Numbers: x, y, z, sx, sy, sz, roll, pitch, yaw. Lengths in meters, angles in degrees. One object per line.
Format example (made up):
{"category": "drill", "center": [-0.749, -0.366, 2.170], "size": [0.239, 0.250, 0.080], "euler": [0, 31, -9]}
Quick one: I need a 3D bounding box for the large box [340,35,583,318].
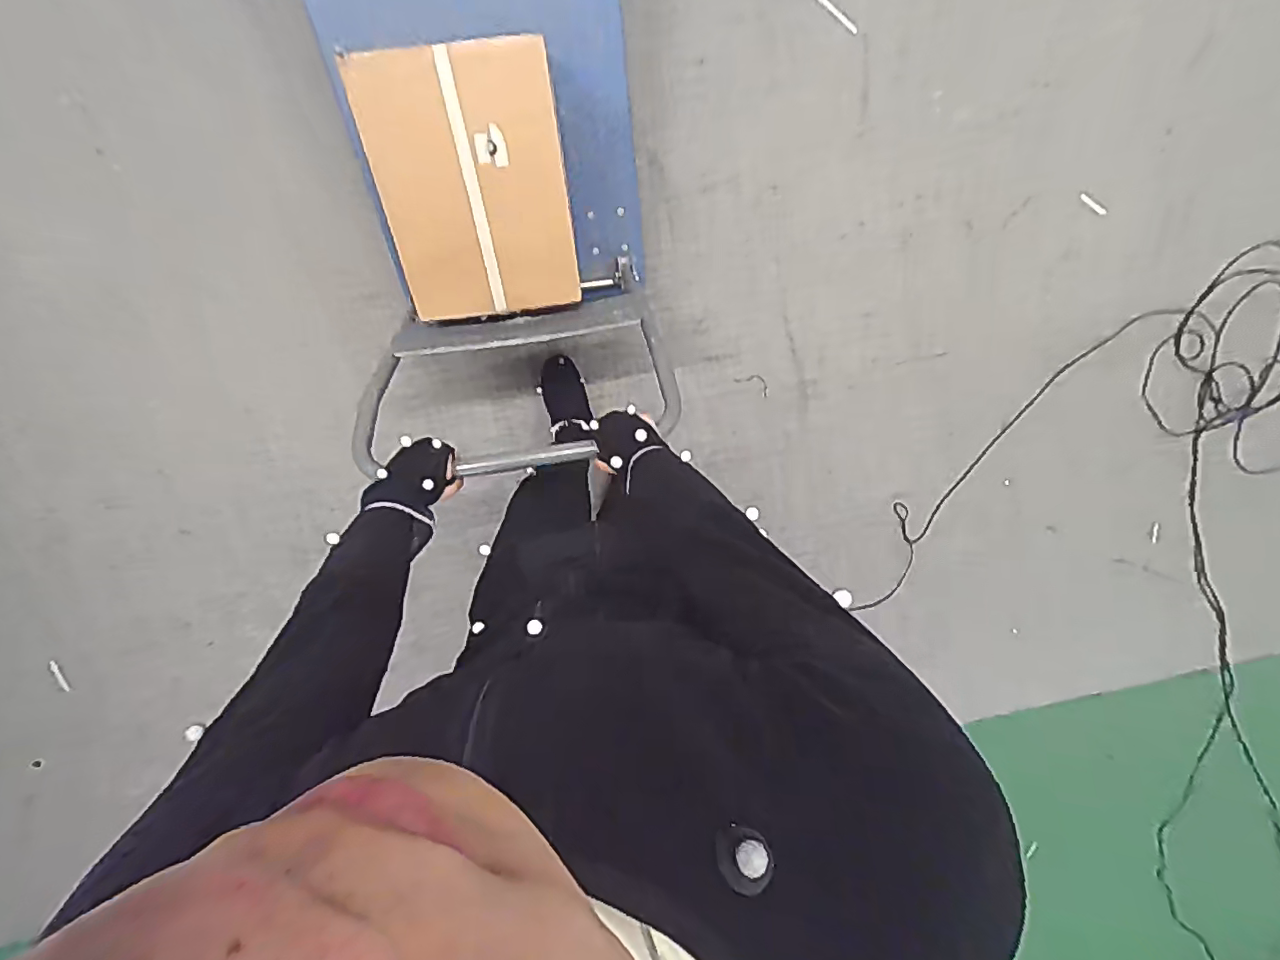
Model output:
{"category": "large box", "center": [-0.298, -0.572, 1.048], "size": [0.320, 0.320, 0.408], "euler": [-9, 124, -4]}
